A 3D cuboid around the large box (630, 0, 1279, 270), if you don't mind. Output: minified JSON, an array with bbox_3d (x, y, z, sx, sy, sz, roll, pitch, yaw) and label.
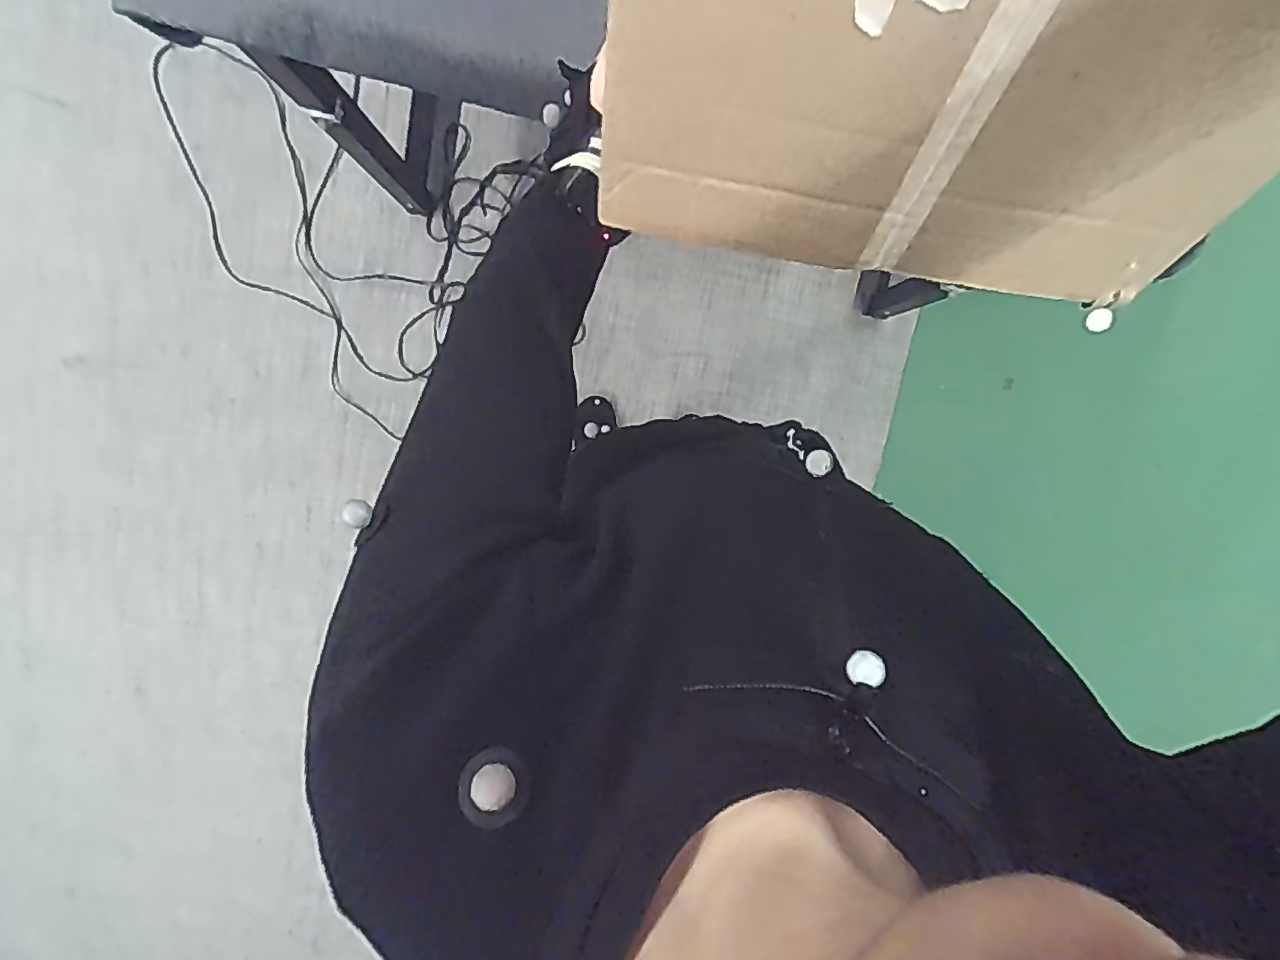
[{"bbox_3d":[0.172,-0.369,0.224,0.320,0.408,0.320,7,61,-3],"label":"large box"}]
